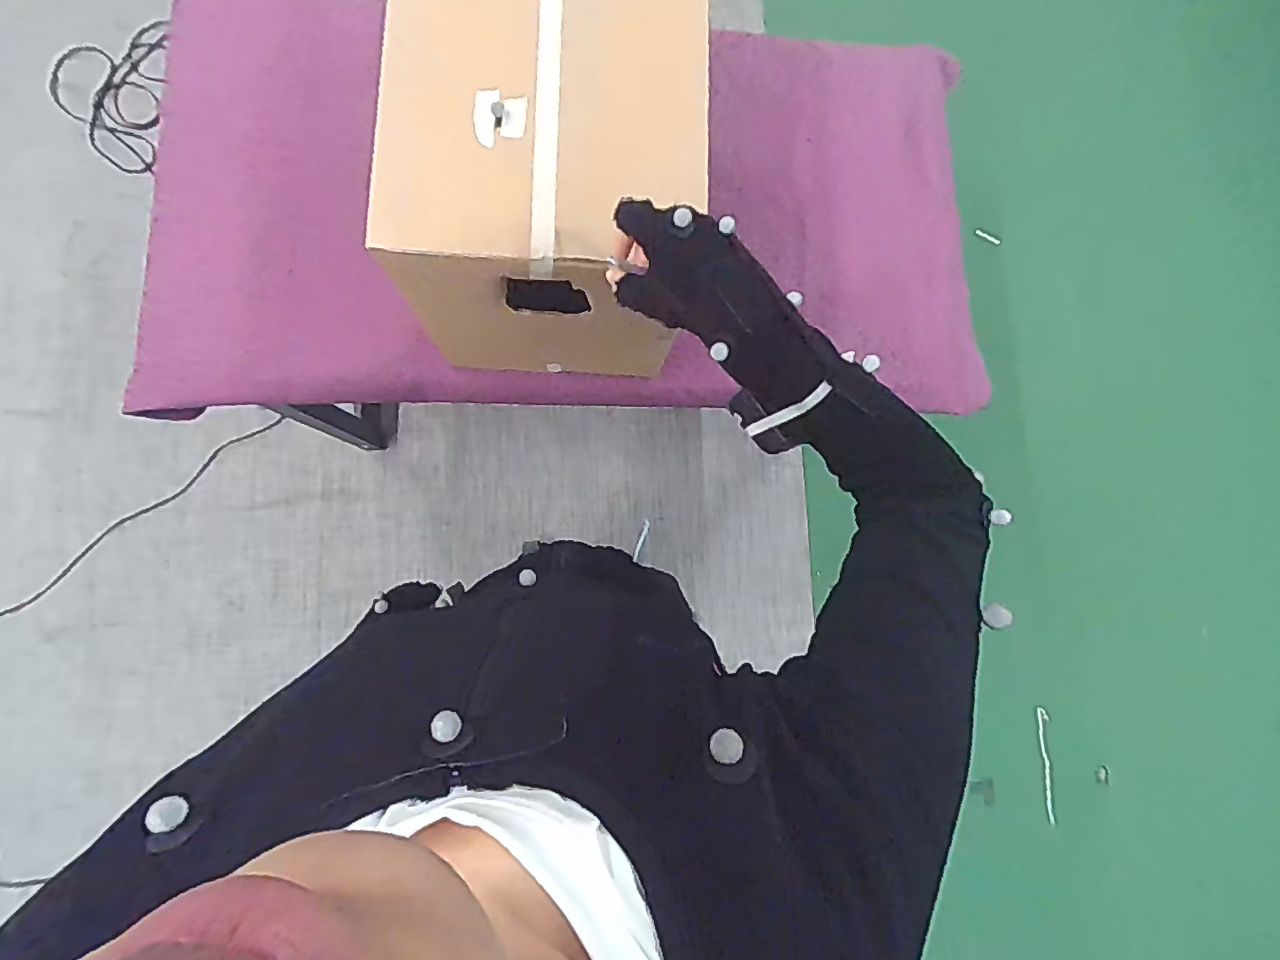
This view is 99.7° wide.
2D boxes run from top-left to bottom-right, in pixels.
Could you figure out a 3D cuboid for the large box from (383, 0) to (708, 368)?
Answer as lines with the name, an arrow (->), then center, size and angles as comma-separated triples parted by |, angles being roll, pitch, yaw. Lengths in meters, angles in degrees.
large box -> -0.104, -0.389, 0.683 | 0.320, 0.320, 0.408 | 2, 84, -7
